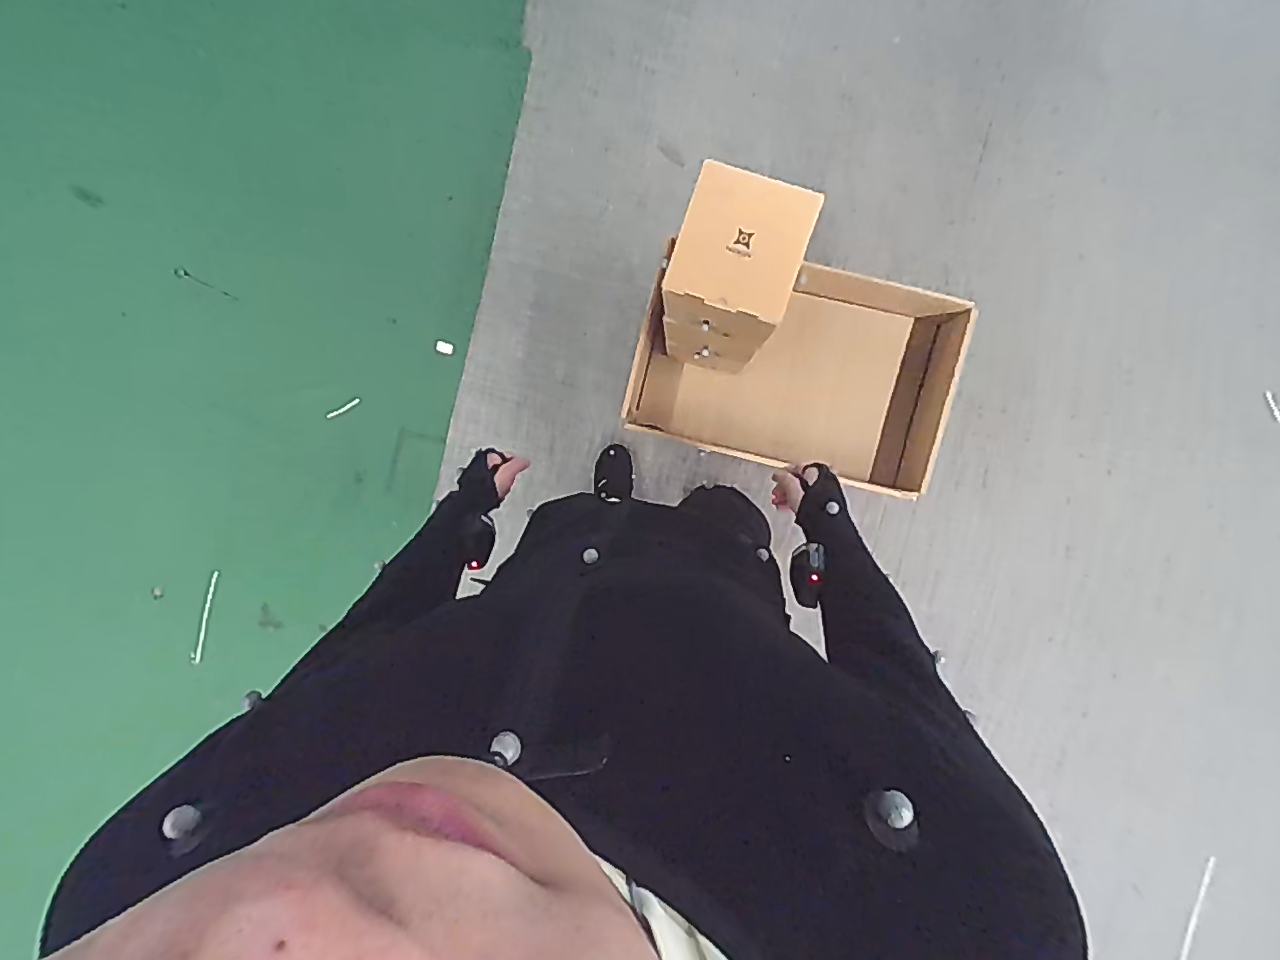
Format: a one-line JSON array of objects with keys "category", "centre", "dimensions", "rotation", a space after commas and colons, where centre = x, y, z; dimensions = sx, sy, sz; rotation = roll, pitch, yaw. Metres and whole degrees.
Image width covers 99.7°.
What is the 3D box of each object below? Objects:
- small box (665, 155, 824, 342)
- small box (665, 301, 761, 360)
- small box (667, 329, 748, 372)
[{"category": "small box", "centre": [0.139, -0.319, 0.782], "dimensions": [0.168, 0.176, 0.179], "rotation": [19, 95, 2]}, {"category": "small box", "centre": [0.146, -0.327, 0.944], "dimensions": [0.168, 0.176, 0.179], "rotation": [18, 94, 3]}, {"category": "small box", "centre": [0.154, -0.336, 1.108], "dimensions": [0.168, 0.176, 0.179], "rotation": [16, 94, 2]}]
